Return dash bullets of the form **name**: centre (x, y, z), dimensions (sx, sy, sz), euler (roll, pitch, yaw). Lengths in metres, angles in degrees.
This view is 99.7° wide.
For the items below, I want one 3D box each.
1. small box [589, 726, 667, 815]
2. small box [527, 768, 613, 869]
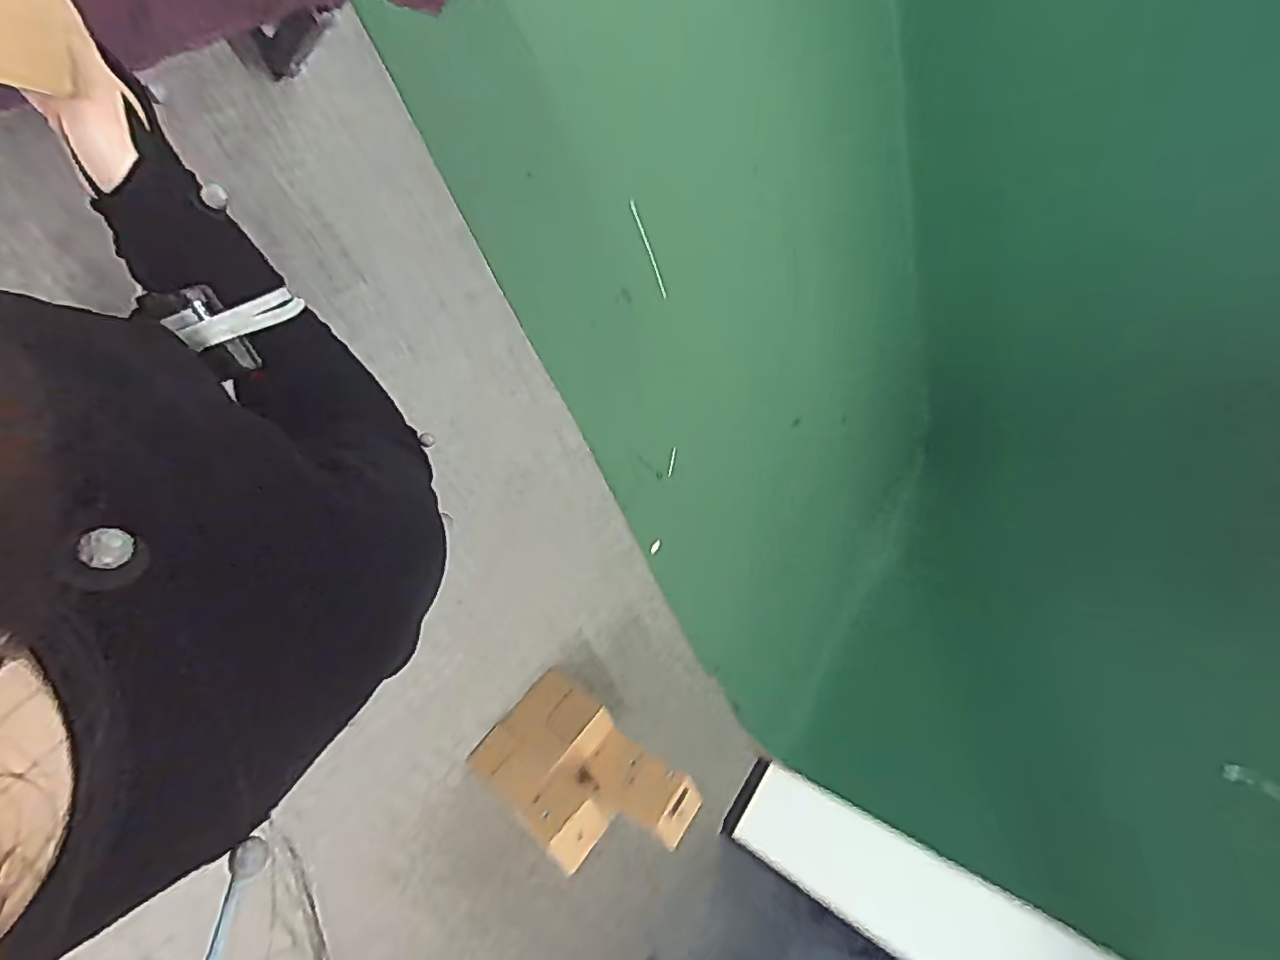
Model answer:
- **small box**: centre (-0.039, 0.961, 1.805), dimensions (0.168, 0.176, 0.179), euler (-42, 127, -33)
- **small box**: centre (-0.214, 1.011, 1.635), dimensions (0.168, 0.176, 0.179), euler (-39, 126, -31)
